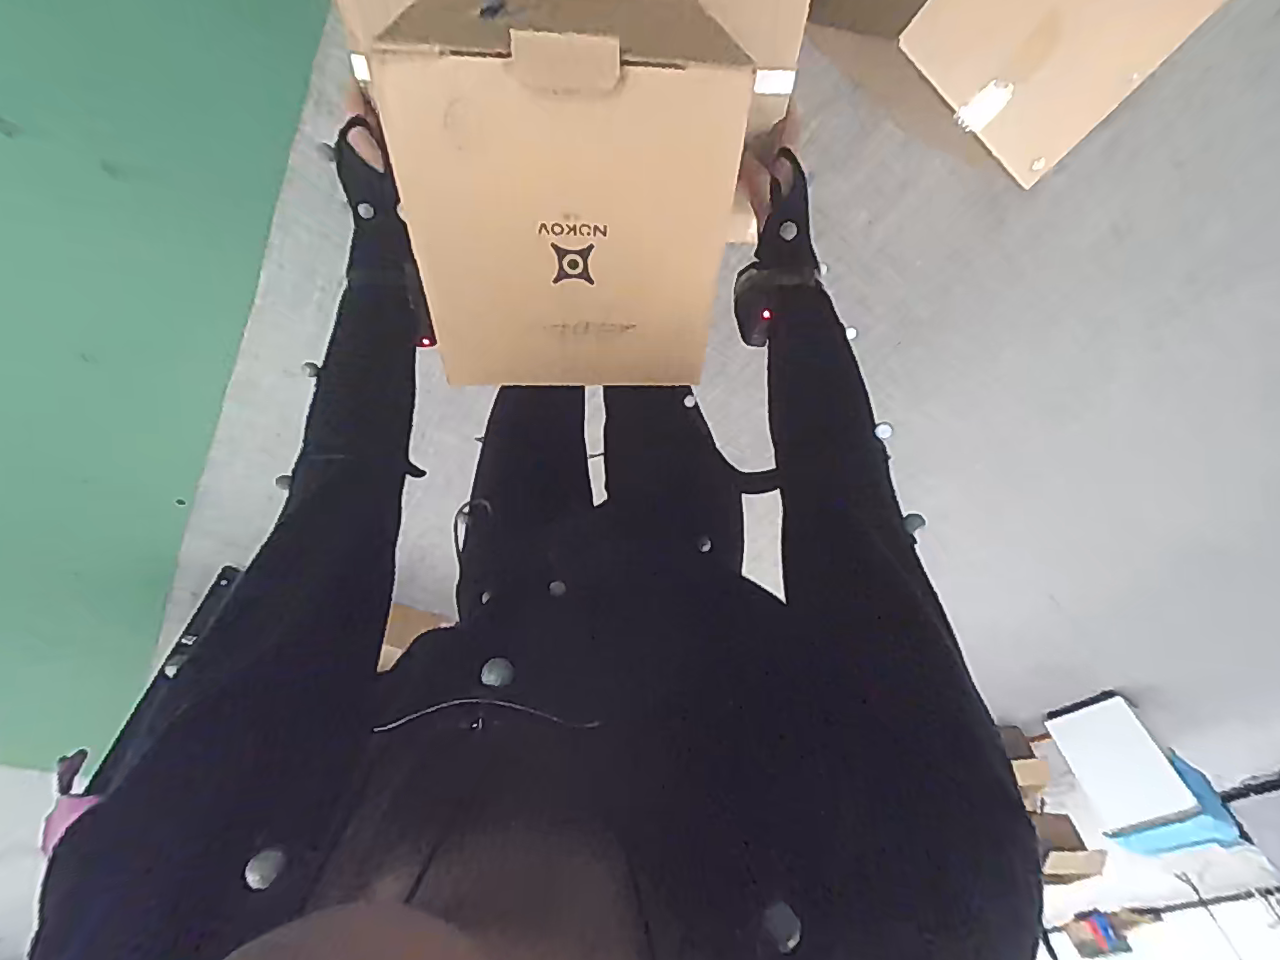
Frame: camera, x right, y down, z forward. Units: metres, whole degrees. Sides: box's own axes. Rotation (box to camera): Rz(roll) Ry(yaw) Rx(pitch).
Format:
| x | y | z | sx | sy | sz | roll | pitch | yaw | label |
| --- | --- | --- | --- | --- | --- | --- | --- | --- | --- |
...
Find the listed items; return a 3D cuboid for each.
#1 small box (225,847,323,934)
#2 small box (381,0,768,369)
| x | y | z | sx | sy | sz | roll | pitch | yaw | label |
| --- | --- | --- | --- | --- | --- | --- | --- | --- | --- |
| -1.019 | 1.152 | 1.516 | 0.168 | 0.176 | 0.179 | 25 | 126 | -24 | small box |
| -0.038 | -0.190 | 0.337 | 0.168 | 0.176 | 0.179 | 0 | 138 | -6 | small box |
